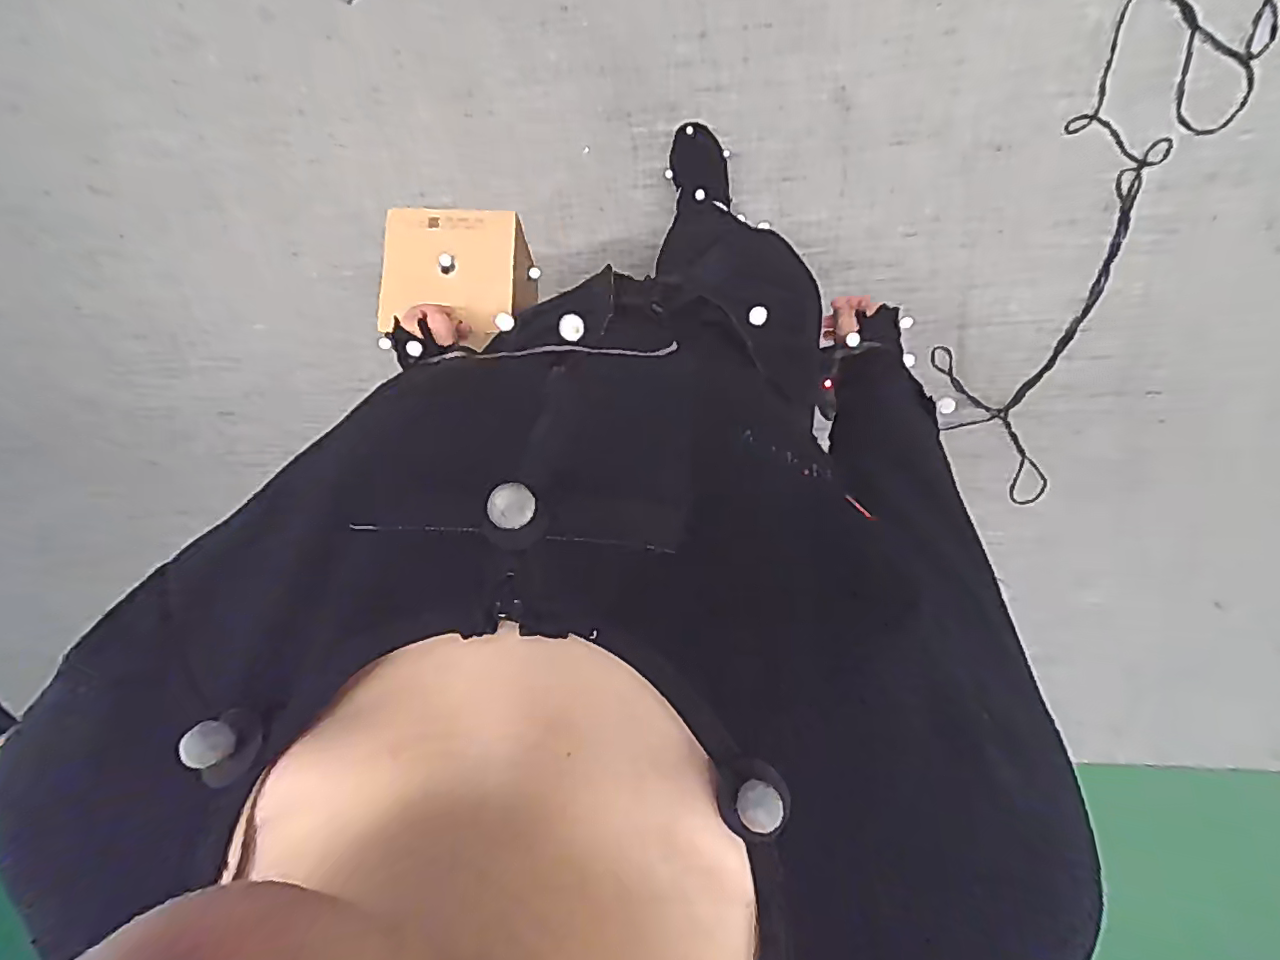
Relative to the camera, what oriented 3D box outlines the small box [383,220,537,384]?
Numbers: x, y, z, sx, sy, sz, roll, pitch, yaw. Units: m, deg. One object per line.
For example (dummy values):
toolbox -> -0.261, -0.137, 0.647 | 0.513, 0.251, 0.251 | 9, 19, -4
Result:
small box -> -0.241, -0.243, 0.761 | 0.168, 0.179, 0.176 | 0, 81, -1
